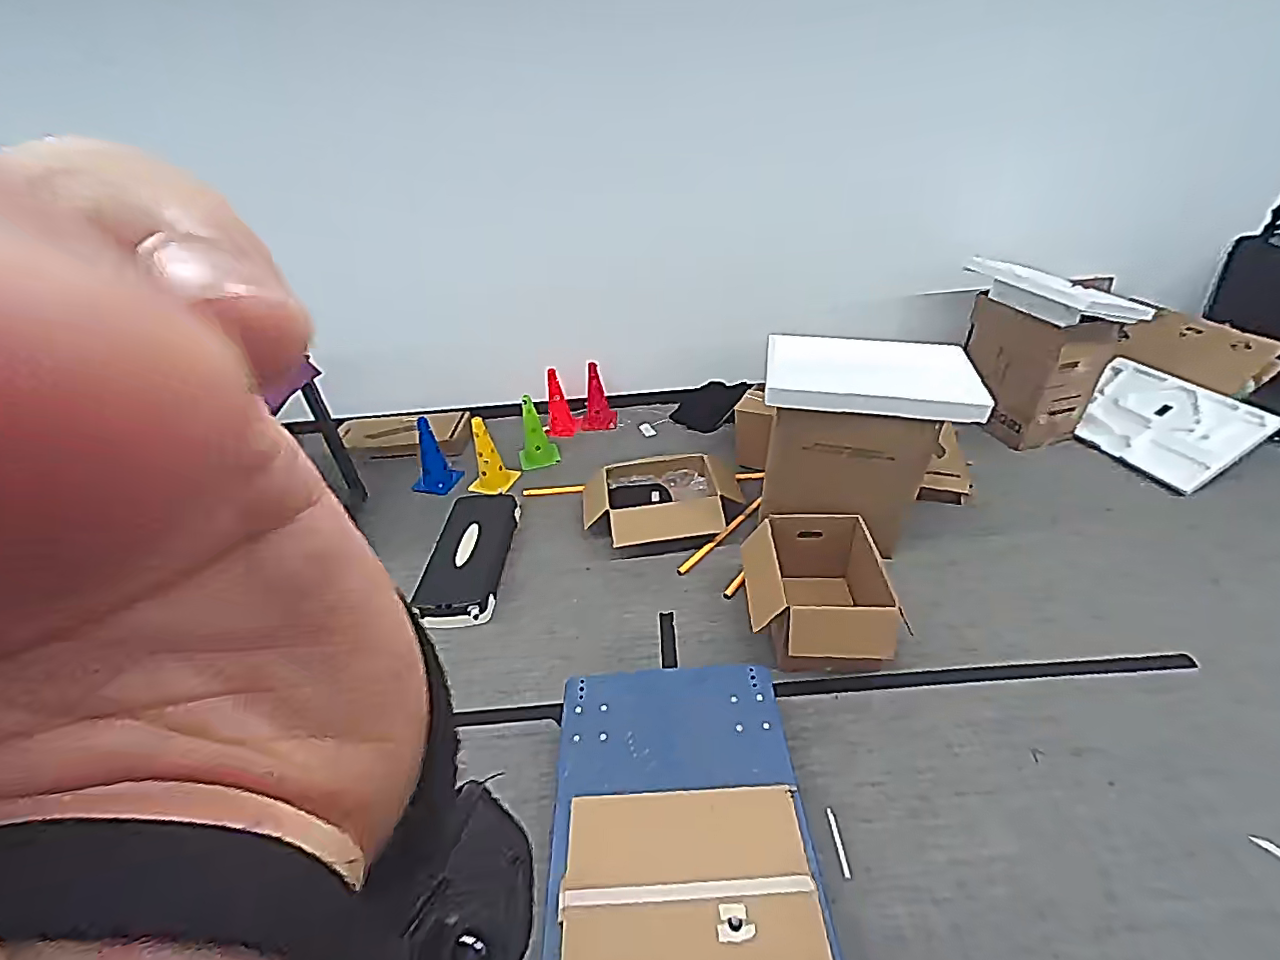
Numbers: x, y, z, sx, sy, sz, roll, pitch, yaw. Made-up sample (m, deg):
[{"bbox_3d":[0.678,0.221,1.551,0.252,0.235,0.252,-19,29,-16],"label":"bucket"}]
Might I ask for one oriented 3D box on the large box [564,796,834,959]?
[{"bbox_3d":[0.088,0.792,0.932,0.408,0.320,0.320,-3,36,0],"label":"large box"}]
